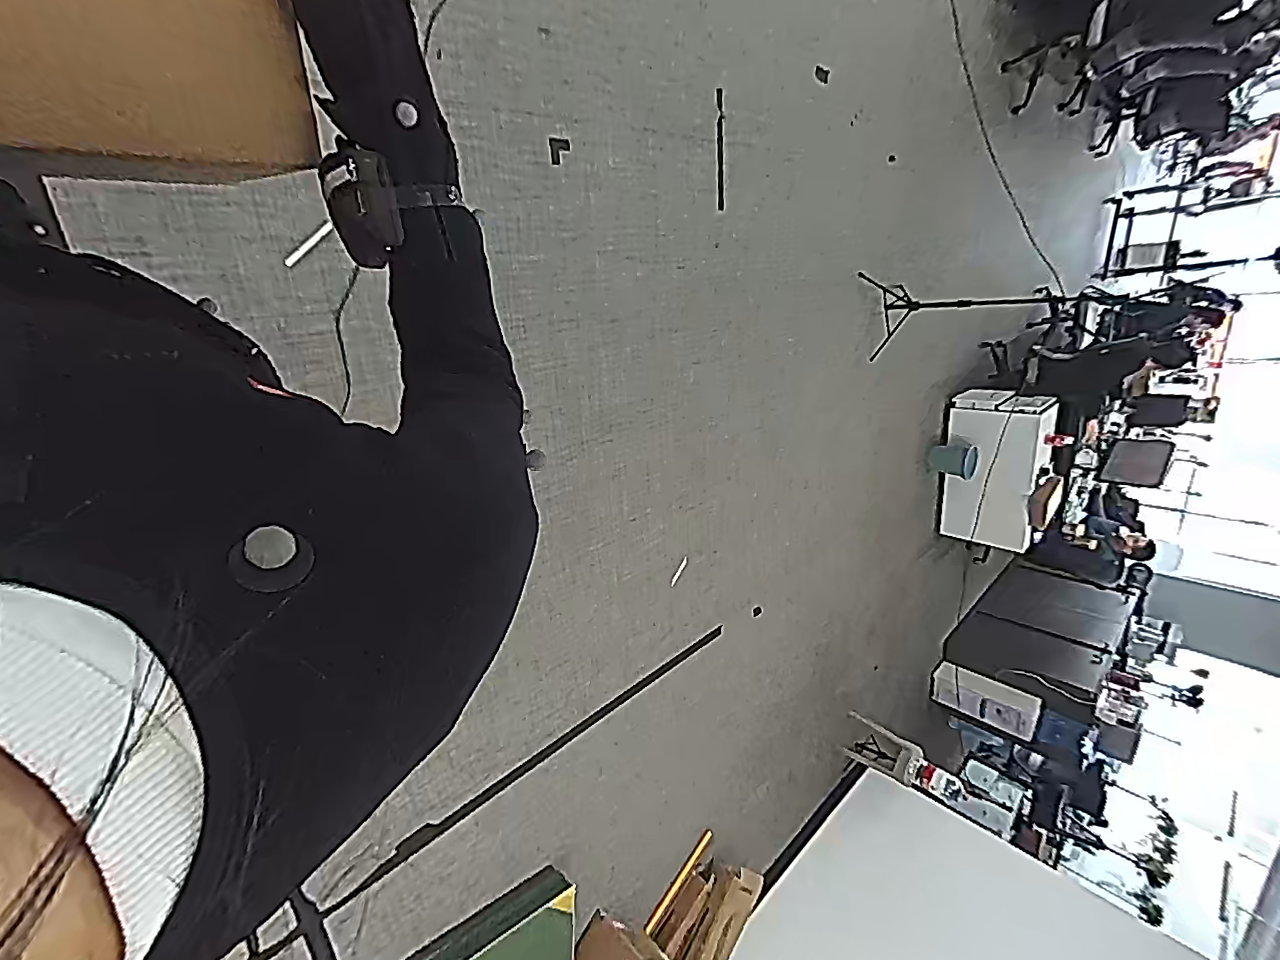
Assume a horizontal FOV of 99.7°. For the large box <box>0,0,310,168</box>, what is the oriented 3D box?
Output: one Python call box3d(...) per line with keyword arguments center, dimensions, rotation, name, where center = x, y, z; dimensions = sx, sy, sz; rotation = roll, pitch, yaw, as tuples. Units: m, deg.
box3d(center=(-0.468, -0.351, 0.274), dimensions=(0.408, 0.320, 0.320), rotation=(-22, 126, -39), name="large box")
